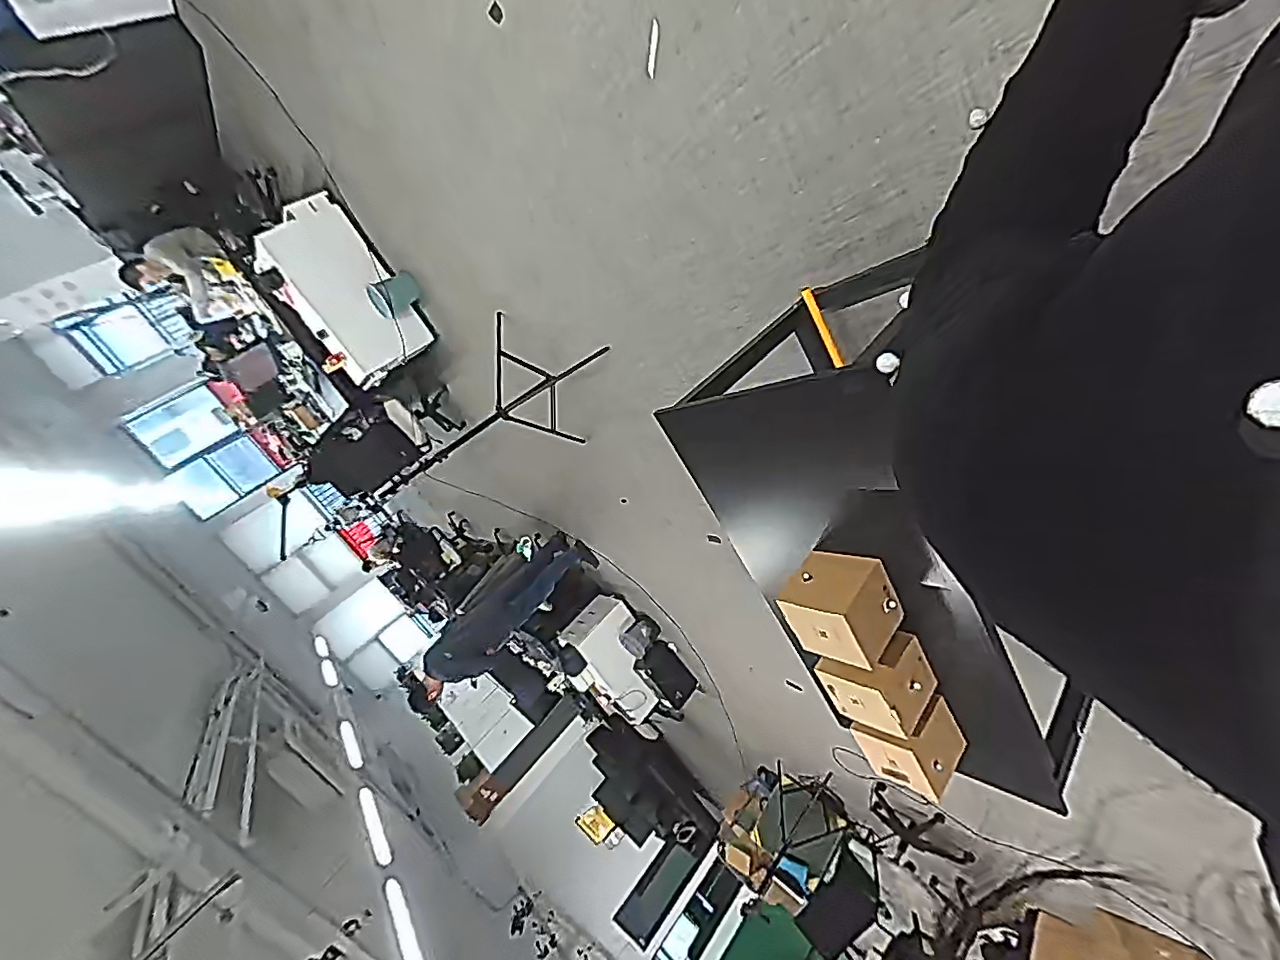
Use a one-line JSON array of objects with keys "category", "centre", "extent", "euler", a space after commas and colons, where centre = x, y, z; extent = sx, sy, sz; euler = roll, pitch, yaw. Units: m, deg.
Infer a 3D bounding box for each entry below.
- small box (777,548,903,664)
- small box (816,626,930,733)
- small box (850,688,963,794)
[{"category": "small box", "centre": [0.443, 0.268, 1.195], "extent": [0.179, 0.176, 0.168], "euler": [-1, 127, 55]}, {"category": "small box", "centre": [0.555, 0.449, 1.271], "extent": [0.179, 0.176, 0.168], "euler": [-2, 126, 55]}, {"category": "small box", "centre": [0.663, 0.621, 1.339], "extent": [0.168, 0.176, 0.179], "euler": [-5, 122, 57]}]
